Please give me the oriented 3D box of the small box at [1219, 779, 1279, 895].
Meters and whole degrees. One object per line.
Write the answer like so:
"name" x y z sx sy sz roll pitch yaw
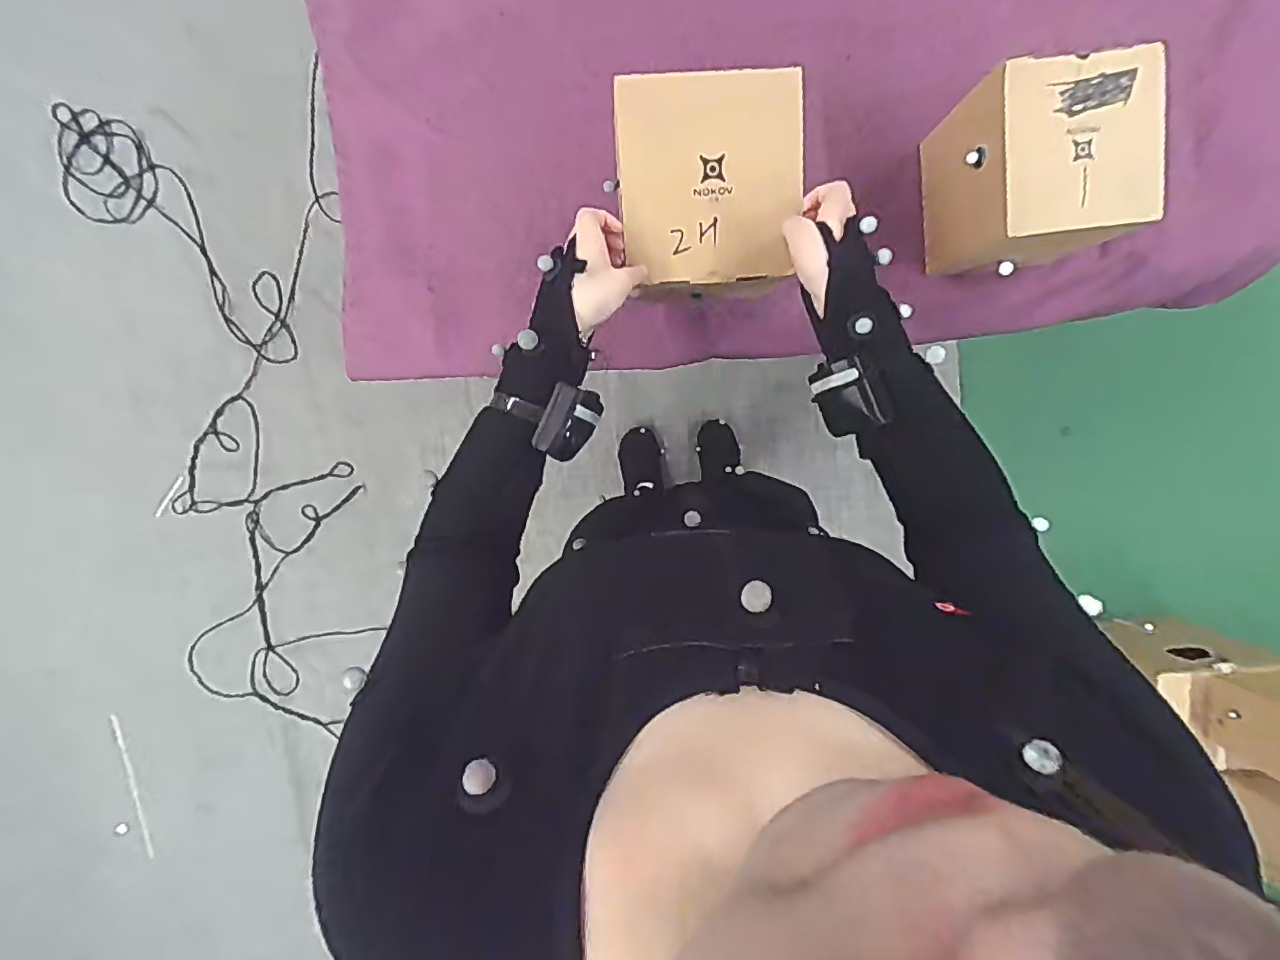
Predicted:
"small box" 1.428 0.786 1.173 0.168 0.176 0.179 0 96 0

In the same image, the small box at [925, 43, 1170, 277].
"small box" 0.455 -0.353 0.630 0.168 0.176 0.179 -6 97 1

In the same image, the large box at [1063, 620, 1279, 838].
"large box" 1.362 0.621 1.401 0.320 0.320 0.408 -5 97 2

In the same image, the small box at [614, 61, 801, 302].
"small box" 0.058 -0.287 0.556 0.168 0.176 0.179 -3 102 0

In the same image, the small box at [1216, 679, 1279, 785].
"small box" 1.402 0.540 1.147 0.179 0.176 0.168 -4 97 1
